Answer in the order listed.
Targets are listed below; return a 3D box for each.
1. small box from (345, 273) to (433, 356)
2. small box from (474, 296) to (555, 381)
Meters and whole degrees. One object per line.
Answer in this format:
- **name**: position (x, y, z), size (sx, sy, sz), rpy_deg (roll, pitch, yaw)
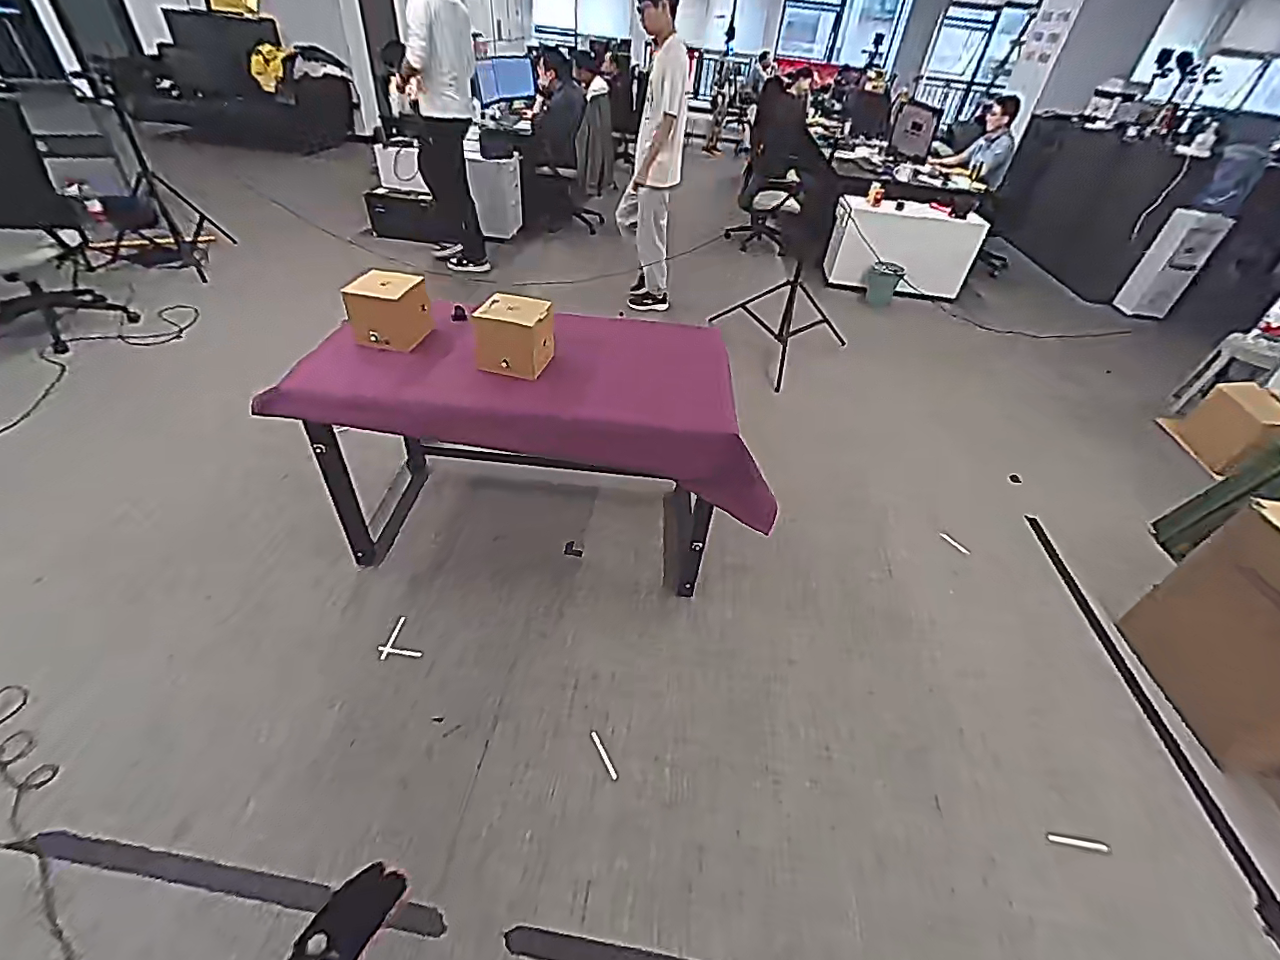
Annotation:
- **small box**: position (-0.732, -0.490, 1.601), size (0.168, 0.176, 0.179), rpy_deg (9, 41, 4)
- **small box**: position (-0.353, -0.403, 1.550), size (0.179, 0.176, 0.168), rpy_deg (12, 41, 6)
